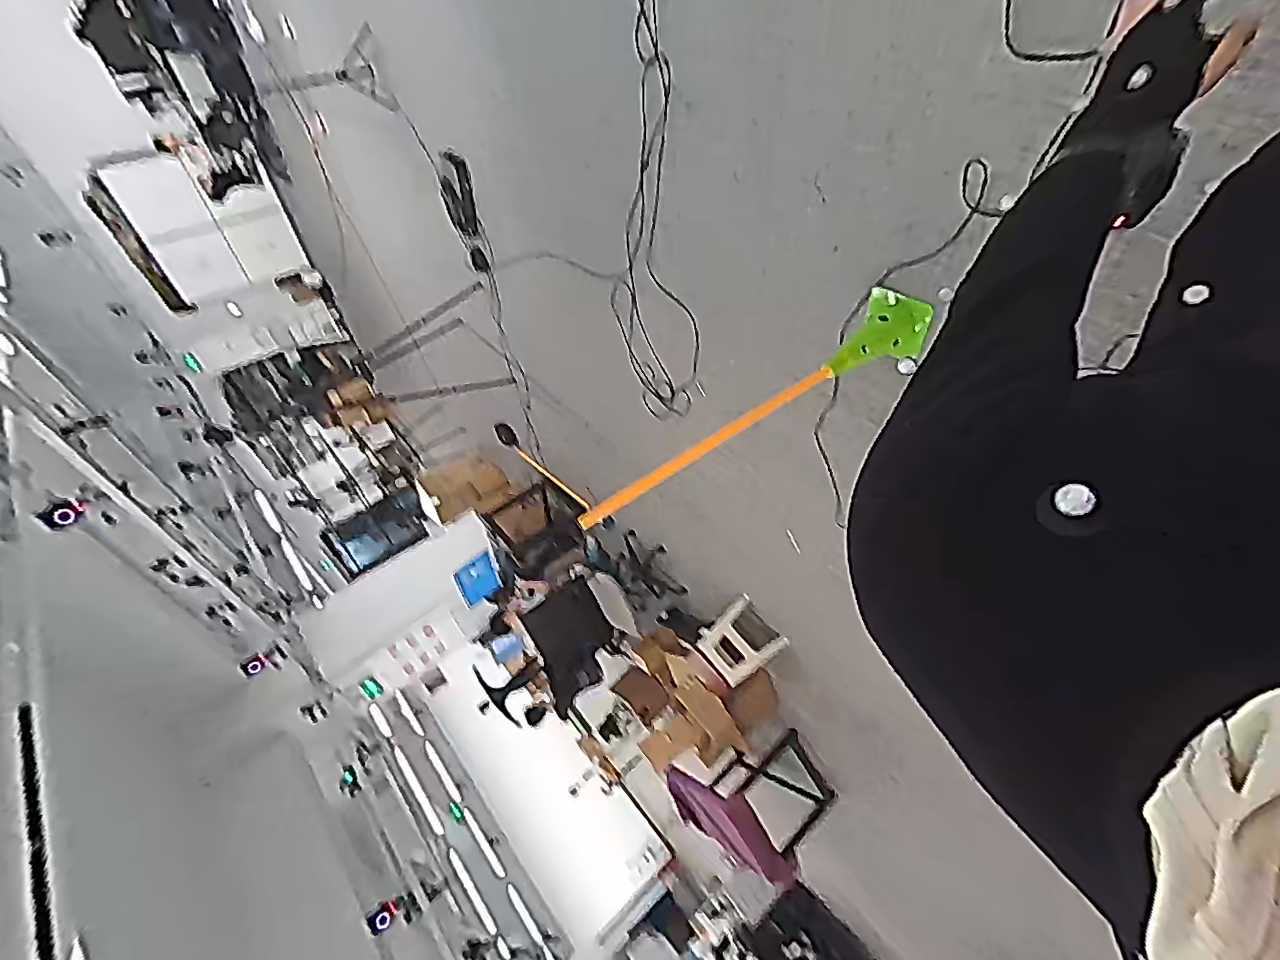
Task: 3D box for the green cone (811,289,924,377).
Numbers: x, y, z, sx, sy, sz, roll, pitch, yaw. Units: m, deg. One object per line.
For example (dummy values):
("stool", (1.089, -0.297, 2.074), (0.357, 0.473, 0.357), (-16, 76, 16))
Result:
("green cone", (0.648, -0.401, 1.628), (0.202, 0.368, 0.200), (39, 149, 34))
